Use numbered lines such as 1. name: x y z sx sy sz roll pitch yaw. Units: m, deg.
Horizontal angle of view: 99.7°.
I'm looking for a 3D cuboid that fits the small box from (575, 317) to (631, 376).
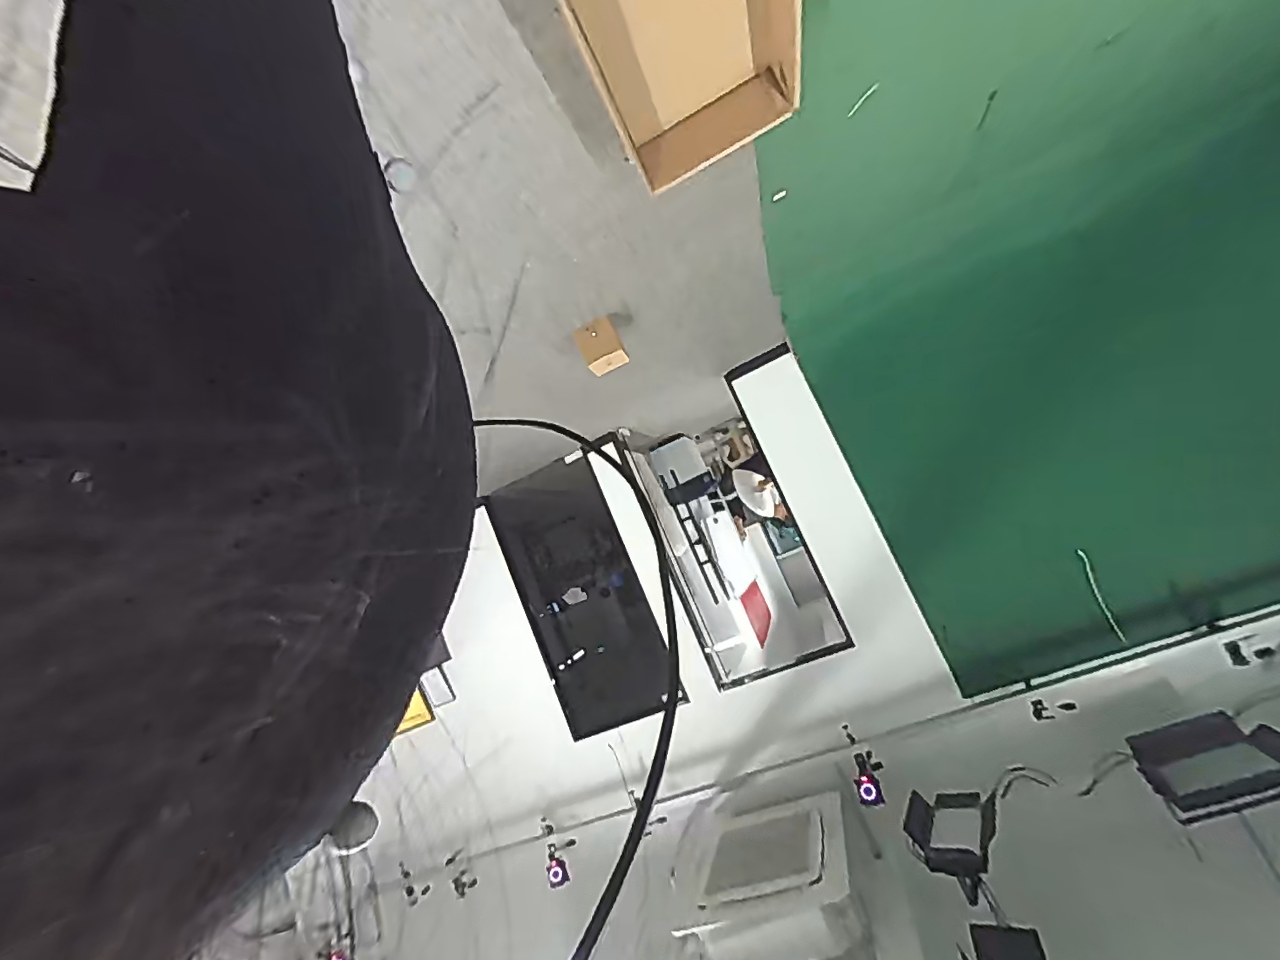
1. small box: -0.161 -0.585 2.365 0.168 0.176 0.179 -25 171 9
